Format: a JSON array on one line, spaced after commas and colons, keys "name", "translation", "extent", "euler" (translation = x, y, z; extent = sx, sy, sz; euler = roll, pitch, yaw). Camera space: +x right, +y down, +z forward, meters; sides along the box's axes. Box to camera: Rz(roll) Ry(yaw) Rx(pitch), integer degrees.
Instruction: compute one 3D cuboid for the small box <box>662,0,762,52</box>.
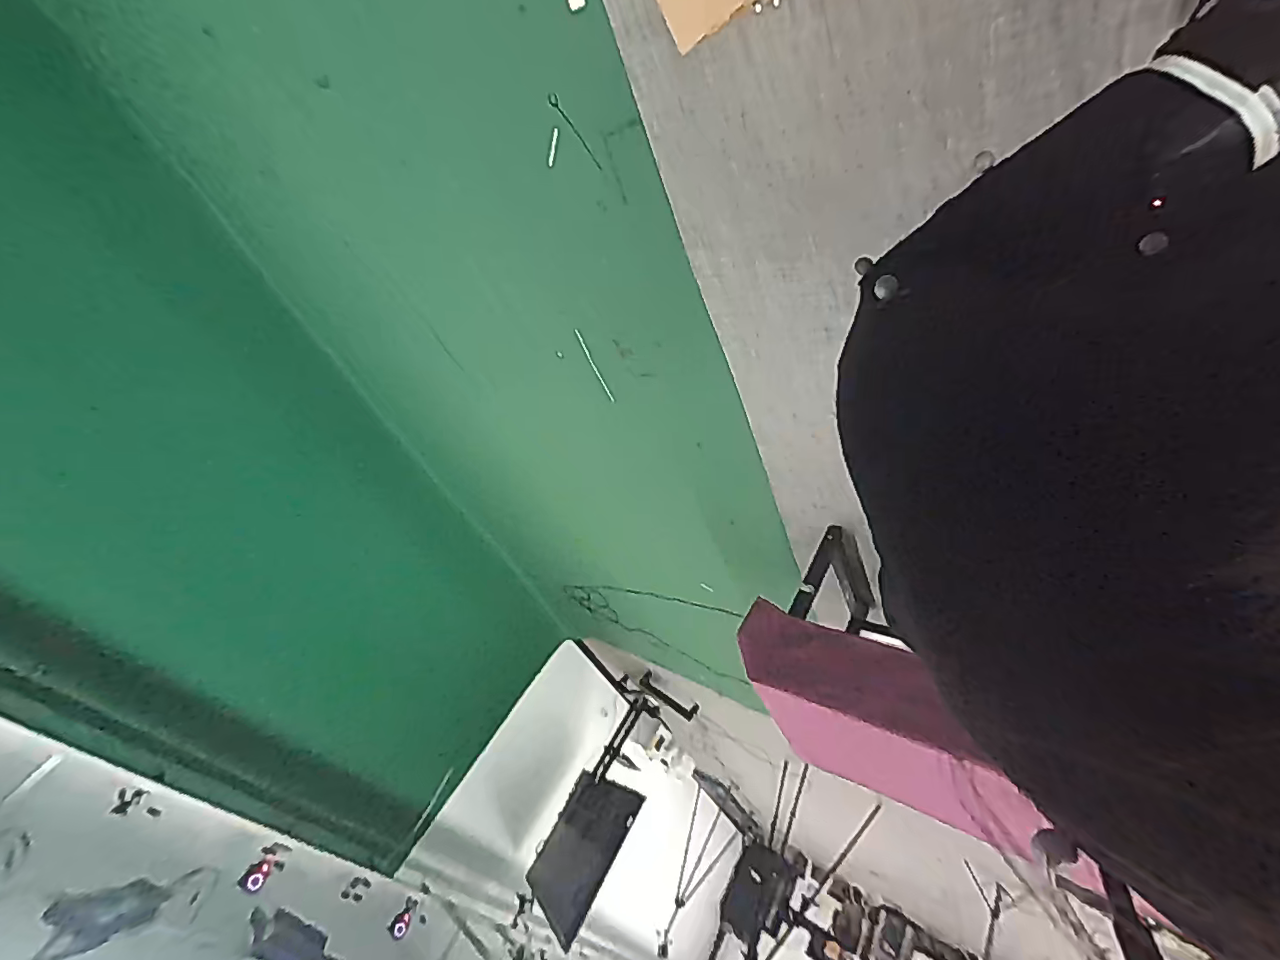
[{"name": "small box", "translation": [0.135, -0.873, 0.897], "extent": [0.168, 0.176, 0.179], "euler": [-1, 133, 47]}]
